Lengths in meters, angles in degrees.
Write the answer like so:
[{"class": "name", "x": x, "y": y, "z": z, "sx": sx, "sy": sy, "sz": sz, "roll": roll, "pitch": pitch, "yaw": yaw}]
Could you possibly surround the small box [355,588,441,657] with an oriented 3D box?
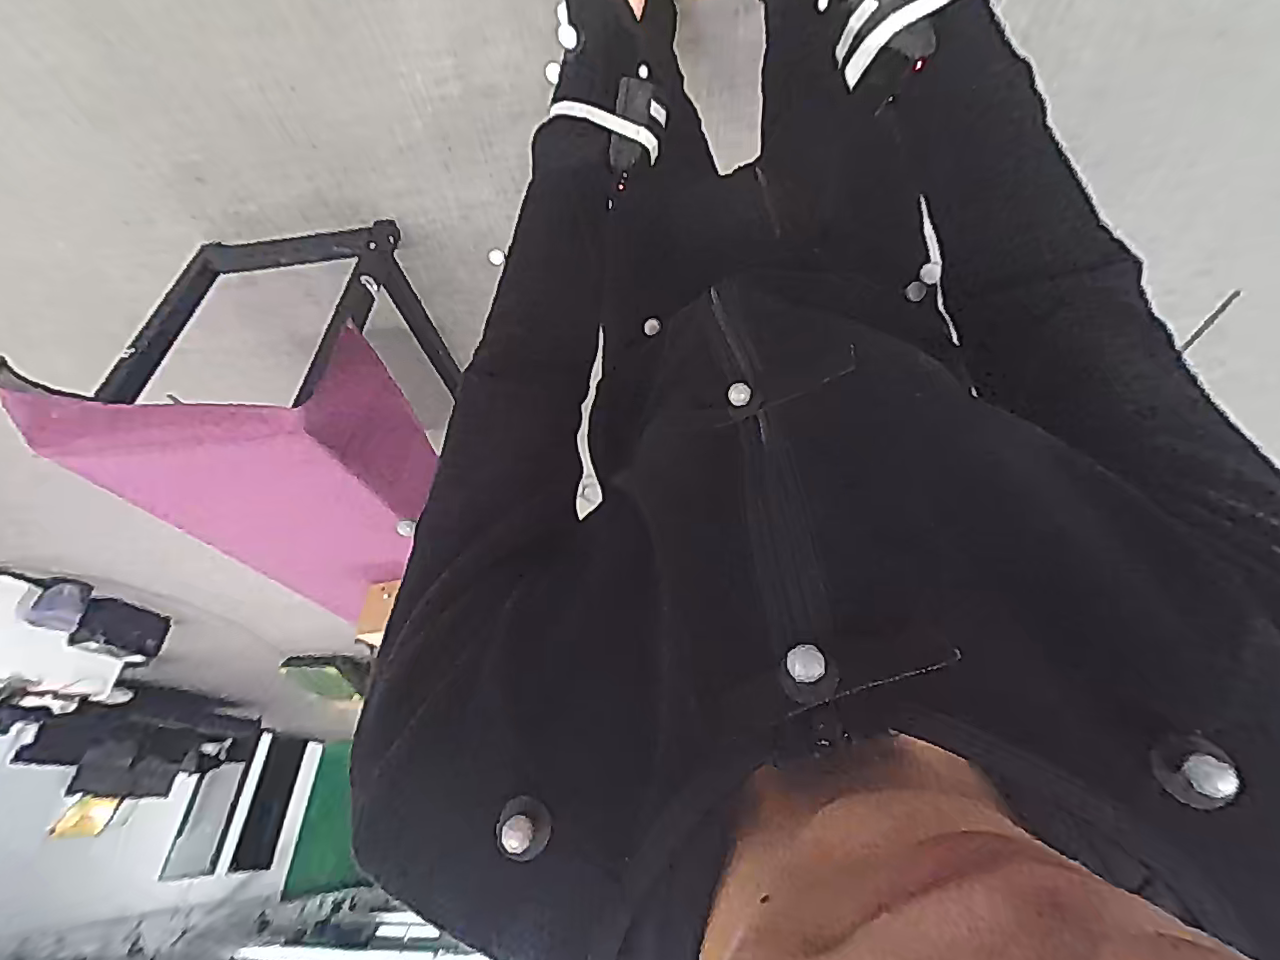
[{"class": "small box", "x": -0.768, "y": 0.458, "z": 1.737, "sx": 0.168, "sy": 0.176, "sz": 0.179, "roll": -10, "pitch": 145, "yaw": 14}]
